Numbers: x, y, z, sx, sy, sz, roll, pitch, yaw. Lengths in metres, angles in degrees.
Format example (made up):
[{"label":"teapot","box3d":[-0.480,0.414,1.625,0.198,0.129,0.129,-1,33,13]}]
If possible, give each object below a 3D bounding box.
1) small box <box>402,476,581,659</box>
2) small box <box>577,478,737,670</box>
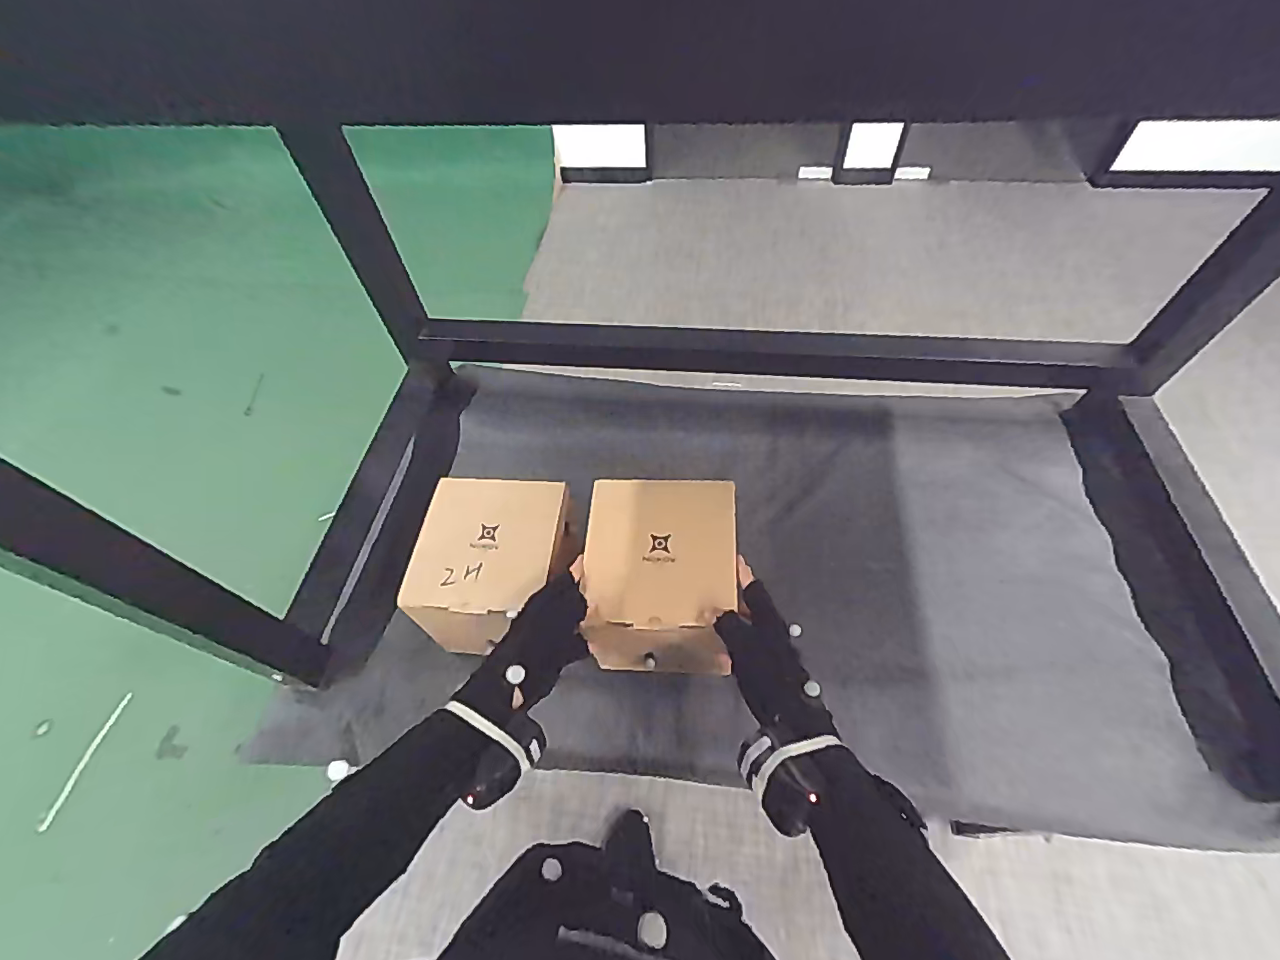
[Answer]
[{"label":"small box","box3d":[-0.175,0.116,0.707,0.168,0.176,0.179,2,55,5]},{"label":"small box","box3d":[0.028,0.116,0.655,0.168,0.176,0.179,1,57,7]}]
